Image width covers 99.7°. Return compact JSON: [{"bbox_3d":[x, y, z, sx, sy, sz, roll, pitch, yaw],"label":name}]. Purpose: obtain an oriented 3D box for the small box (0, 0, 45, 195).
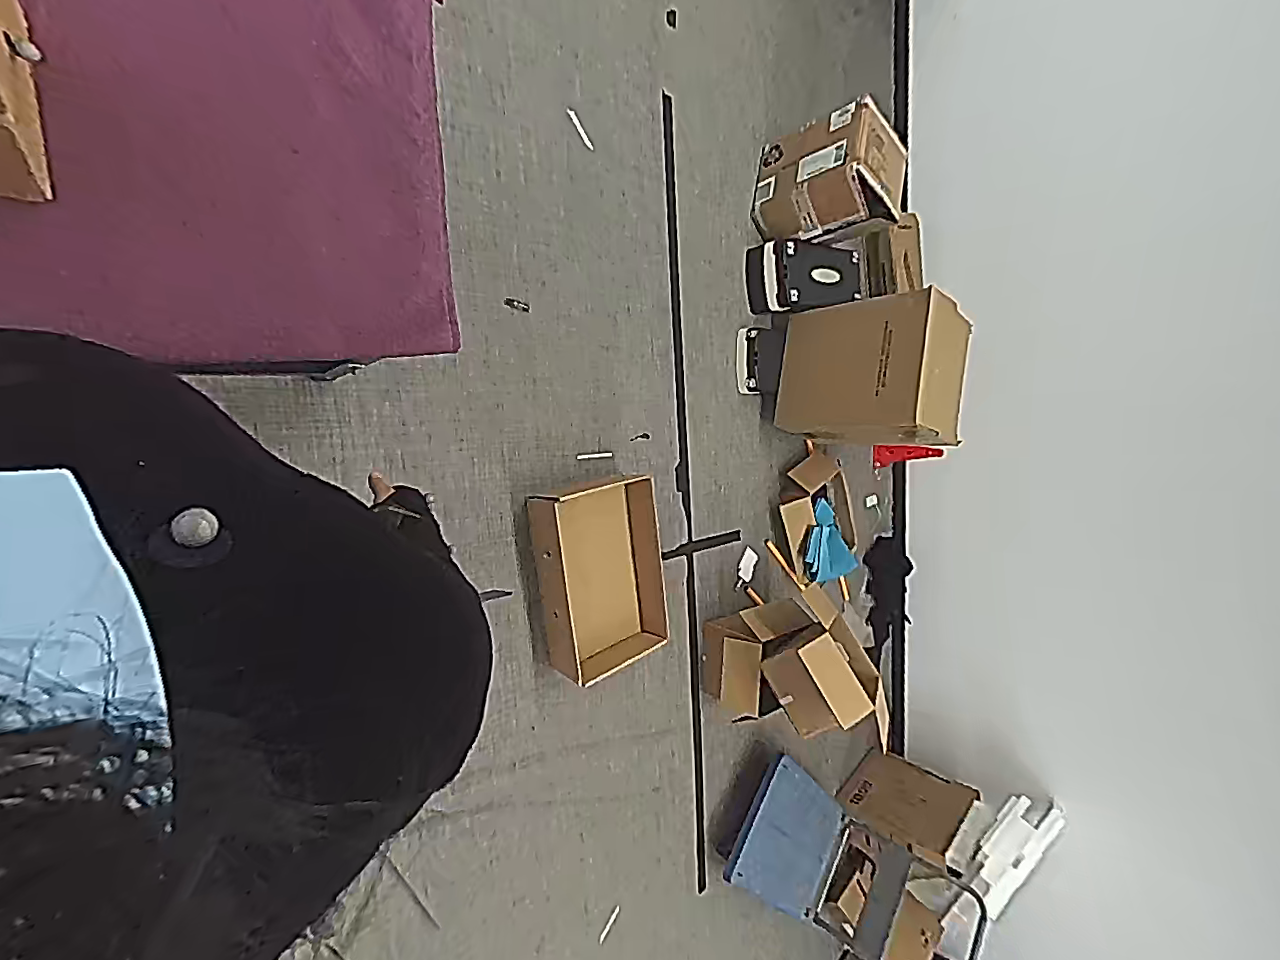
[{"bbox_3d":[-0.599,-0.354,0.415,0.168,0.176,0.179,-8,98,-41],"label":"small box"}]
